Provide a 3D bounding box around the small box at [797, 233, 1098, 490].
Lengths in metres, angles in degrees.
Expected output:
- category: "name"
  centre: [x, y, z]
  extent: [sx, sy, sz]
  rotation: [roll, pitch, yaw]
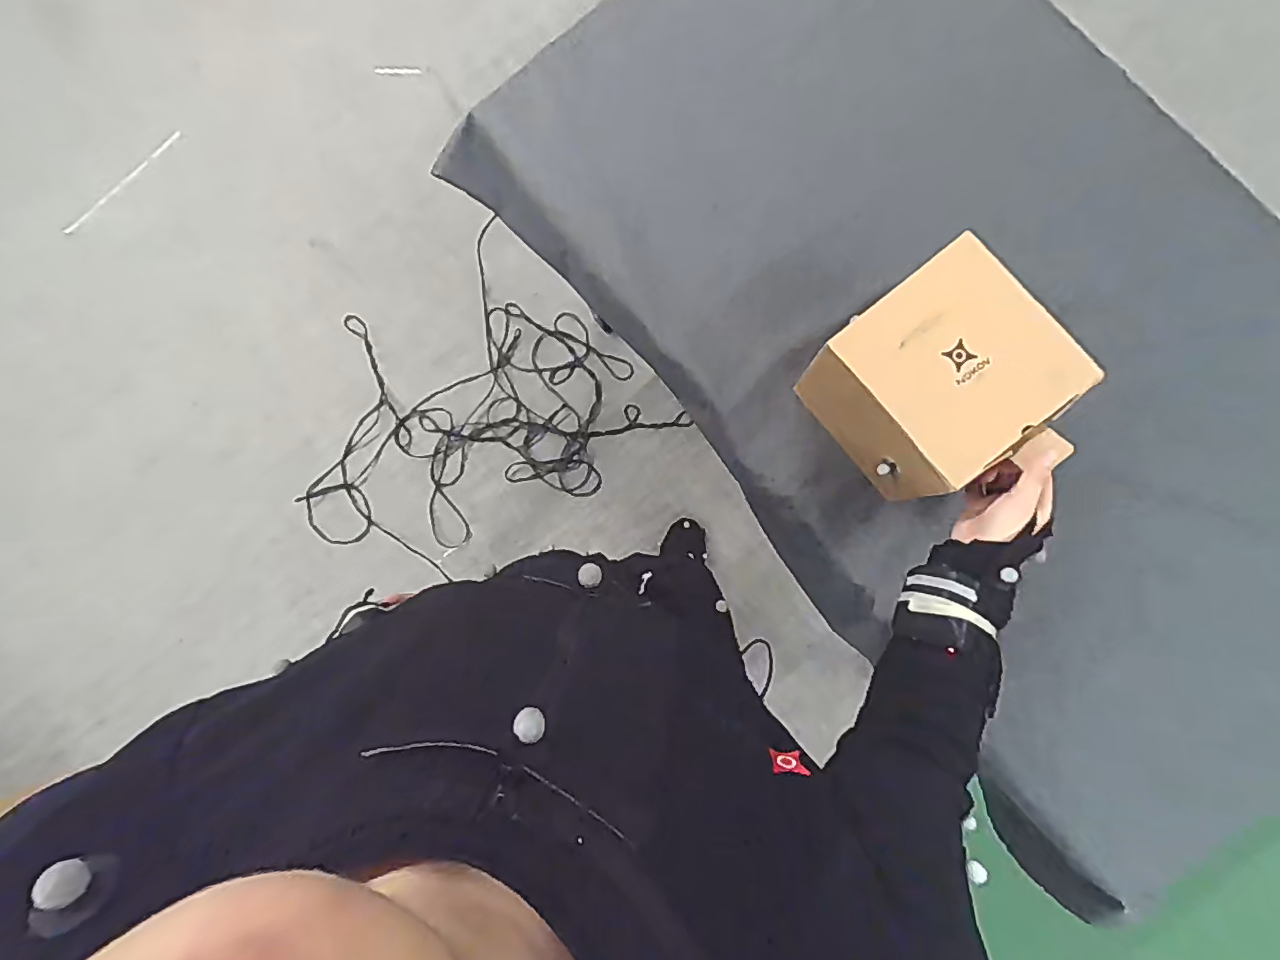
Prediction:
- category: "small box"
  centre: [0.290, -0.103, 0.558]
  extent: [0.168, 0.176, 0.179]
  rotation: [-39, 82, 0]
